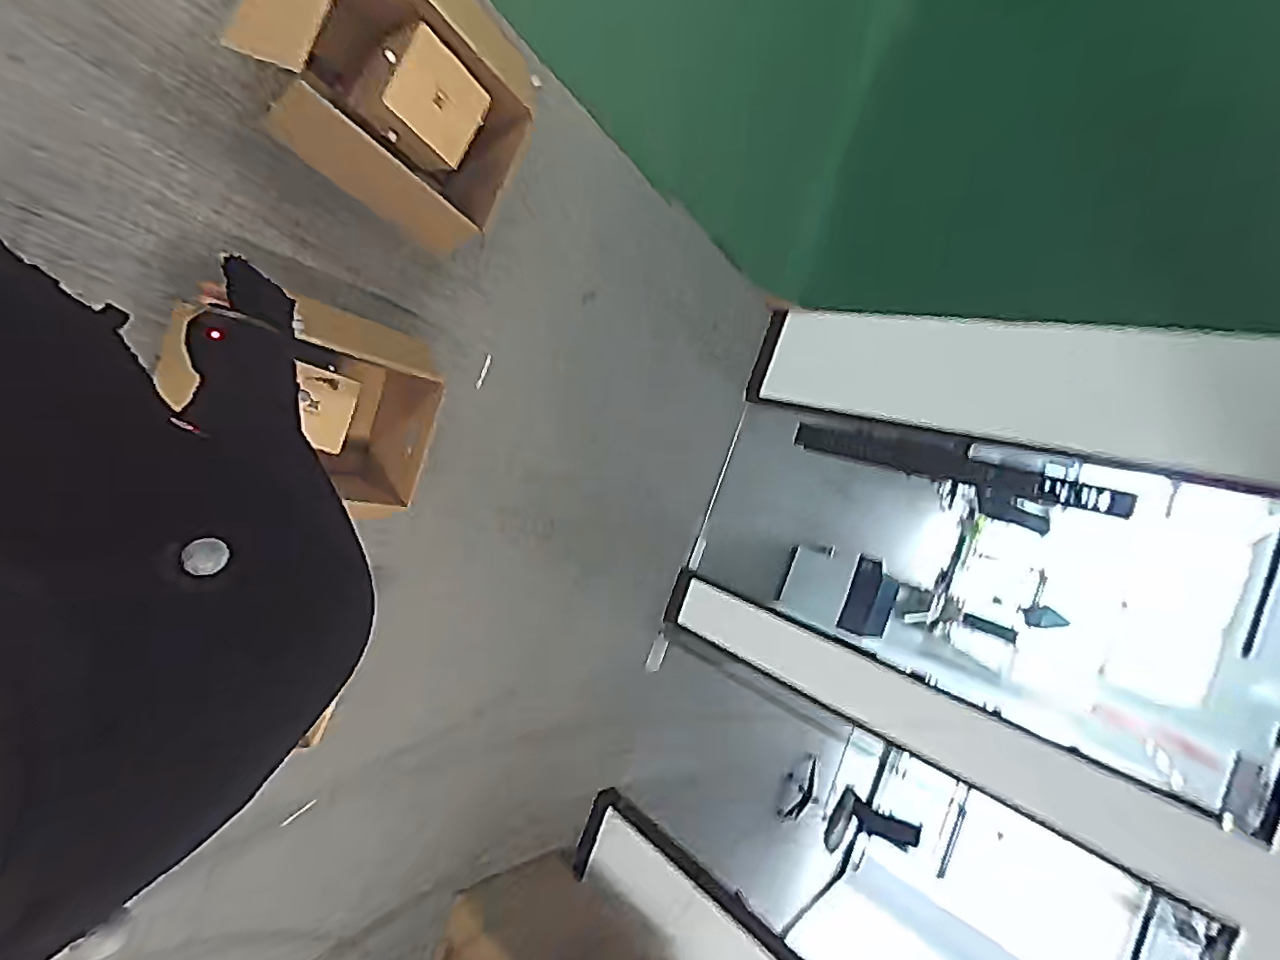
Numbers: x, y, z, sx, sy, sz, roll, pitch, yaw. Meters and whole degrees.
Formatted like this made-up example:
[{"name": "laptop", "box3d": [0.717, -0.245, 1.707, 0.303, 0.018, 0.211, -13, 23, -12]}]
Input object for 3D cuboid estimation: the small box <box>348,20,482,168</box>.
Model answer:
[{"name": "small box", "box3d": [-0.465, -0.774, 1.108, 0.168, 0.176, 0.179, 30, 82, -51]}]
